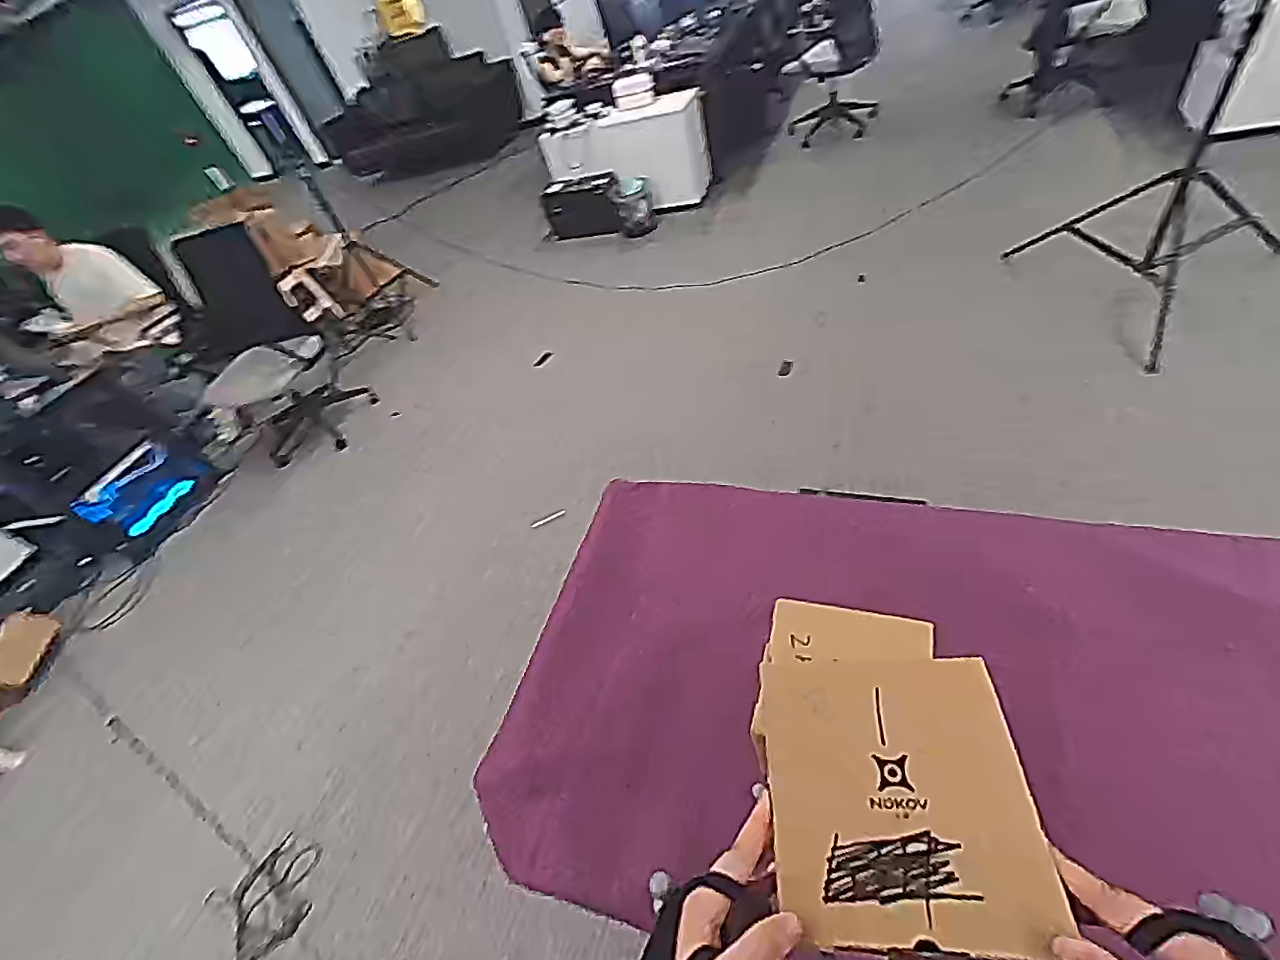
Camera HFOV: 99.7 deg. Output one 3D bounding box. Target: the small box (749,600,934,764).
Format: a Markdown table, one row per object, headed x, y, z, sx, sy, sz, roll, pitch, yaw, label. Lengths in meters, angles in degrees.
| x | y | z | sx | sy | sz | roll | pitch | yaw | label |
| --- | --- | --- | --- | --- | --- | --- | --- | --- | --- |
| 0.240 | 0.269 | 0.643 | 0.179 | 0.176 | 0.168 | 5 | 50 | 23 | small box |

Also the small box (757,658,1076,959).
| x | y | z | sx | sy | sz | roll | pitch | yaw | label |
| --- | --- | --- | --- | --- | --- | --- | --- | --- | --- |
| 0.183 | 0.255 | 0.420 | 0.168 | 0.176 | 0.179 | -4 | 49 | 12 | small box |
